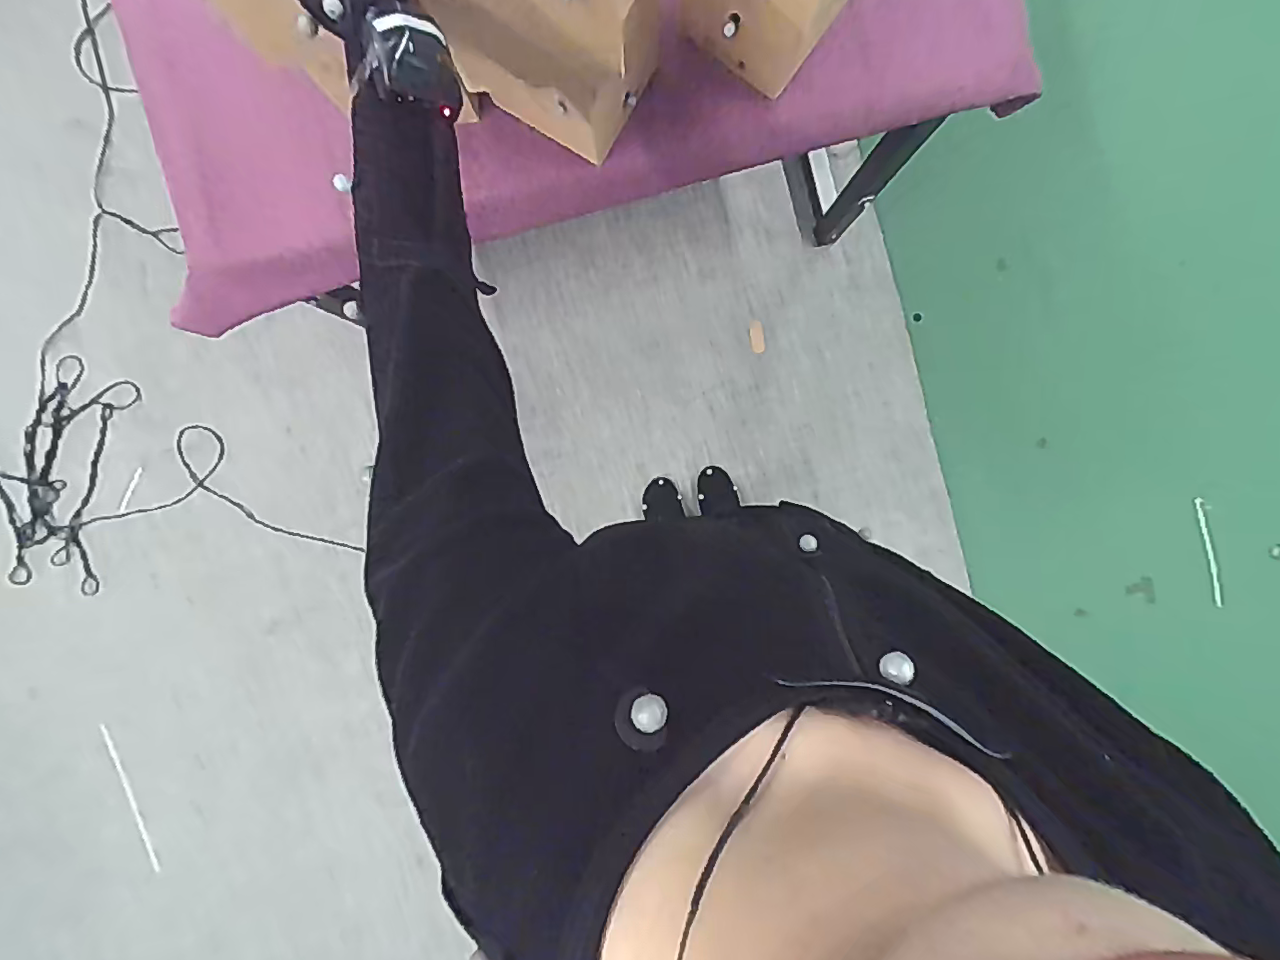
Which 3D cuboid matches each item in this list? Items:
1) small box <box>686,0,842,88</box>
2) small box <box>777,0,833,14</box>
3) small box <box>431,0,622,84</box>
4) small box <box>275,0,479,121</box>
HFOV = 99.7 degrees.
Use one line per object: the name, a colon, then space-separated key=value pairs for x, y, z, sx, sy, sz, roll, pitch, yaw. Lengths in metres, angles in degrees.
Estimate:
small box: x=0.167 y=-0.639 z=0.657 sx=0.168 sy=0.176 sz=0.179 roll=36 pitch=94 yaw=-1
small box: x=0.173 y=-0.591 z=0.494 sx=0.179 sy=0.176 sz=0.168 roll=43 pitch=93 yaw=0
small box: x=-0.111 y=-0.508 z=0.505 sx=0.179 sy=0.176 sz=0.168 roll=-3 pitch=93 yaw=1
small box: x=-0.313 y=-0.575 z=0.667 sx=0.179 sy=0.176 sz=0.168 roll=-2 pitch=94 yaw=0
